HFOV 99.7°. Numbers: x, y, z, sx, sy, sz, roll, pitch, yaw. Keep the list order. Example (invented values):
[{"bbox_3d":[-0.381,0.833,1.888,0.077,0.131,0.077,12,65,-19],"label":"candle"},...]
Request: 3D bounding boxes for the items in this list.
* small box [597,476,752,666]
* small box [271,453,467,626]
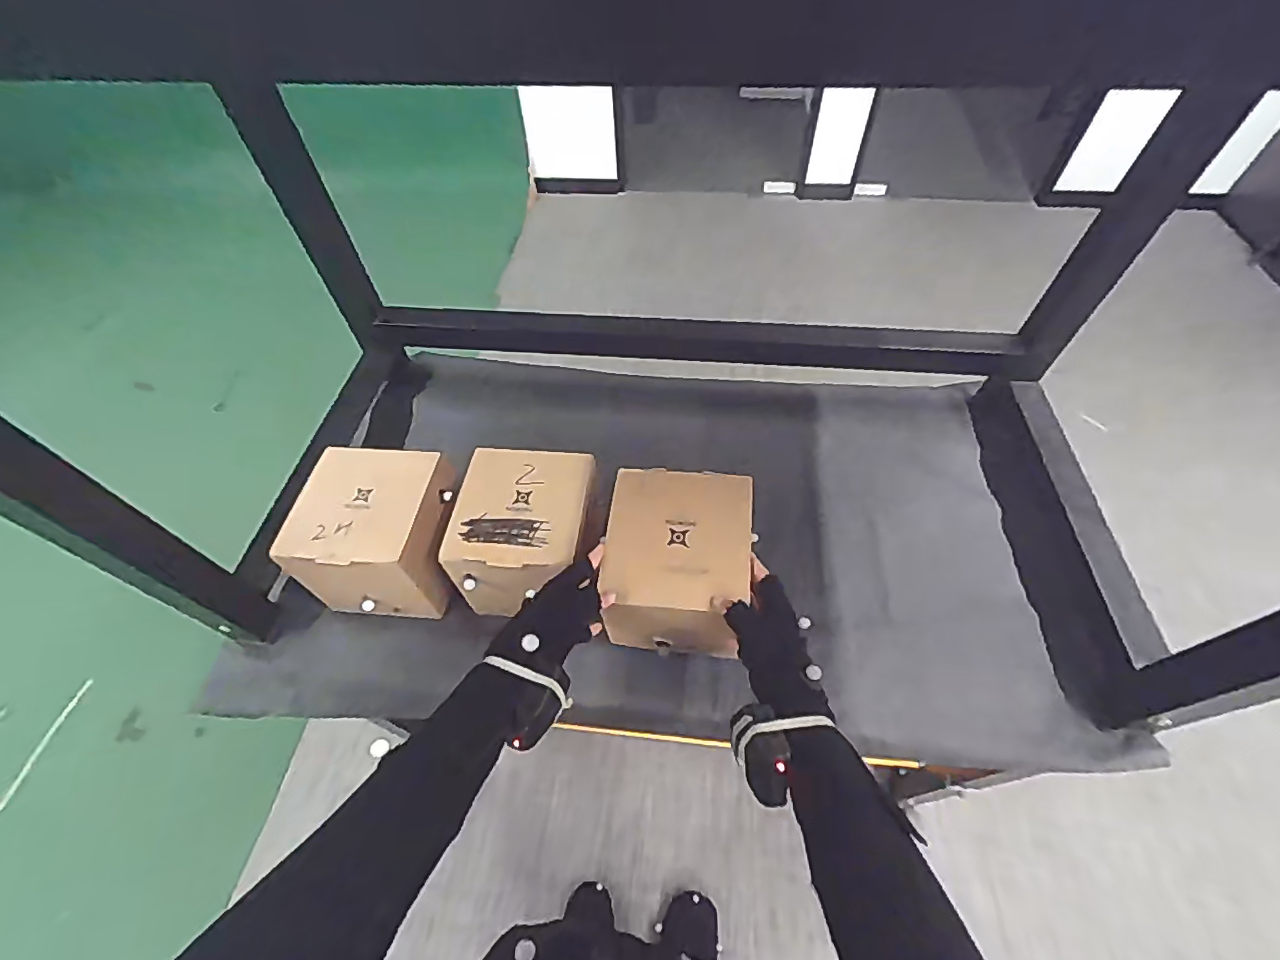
[{"bbox_3d":[0.048,0.116,0.680,0.168,0.176,0.179,3,57,7],"label":"small box"},{"bbox_3d":[-0.357,0.084,0.759,0.168,0.176,0.179,3,53,4],"label":"small box"}]
